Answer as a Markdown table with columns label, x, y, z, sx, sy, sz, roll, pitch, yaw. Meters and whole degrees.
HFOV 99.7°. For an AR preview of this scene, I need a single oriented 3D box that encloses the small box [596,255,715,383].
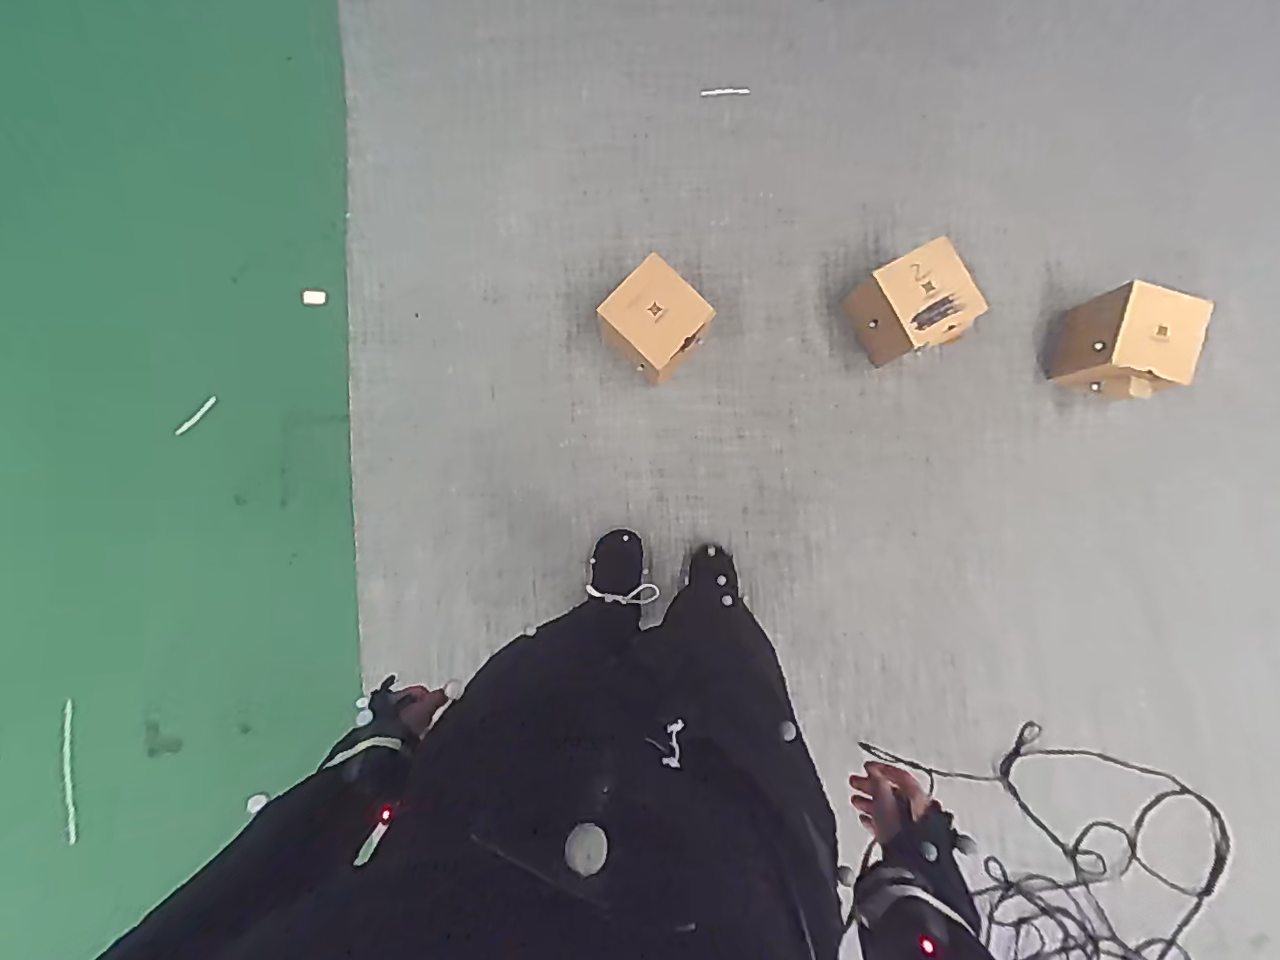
| label | x | y | z | sx | sy | sz | roll | pitch | yaw |
| --- | --- | --- | --- | --- | --- | --- | --- | --- | --- |
| small box | 0.031 | -0.322 | 1.131 | 0.179 | 0.176 | 0.168 | 43 | 88 | 2 |

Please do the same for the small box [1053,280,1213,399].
| label | x | y | z | sx | sy | sz | roll | pitch | yaw |
| --- | --- | --- | --- | --- | --- | --- | --- | --- | --- |
| small box | 1.019 | -0.286 | 1.135 | 0.168 | 0.176 | 0.179 | 17 | 89 | 0 |
